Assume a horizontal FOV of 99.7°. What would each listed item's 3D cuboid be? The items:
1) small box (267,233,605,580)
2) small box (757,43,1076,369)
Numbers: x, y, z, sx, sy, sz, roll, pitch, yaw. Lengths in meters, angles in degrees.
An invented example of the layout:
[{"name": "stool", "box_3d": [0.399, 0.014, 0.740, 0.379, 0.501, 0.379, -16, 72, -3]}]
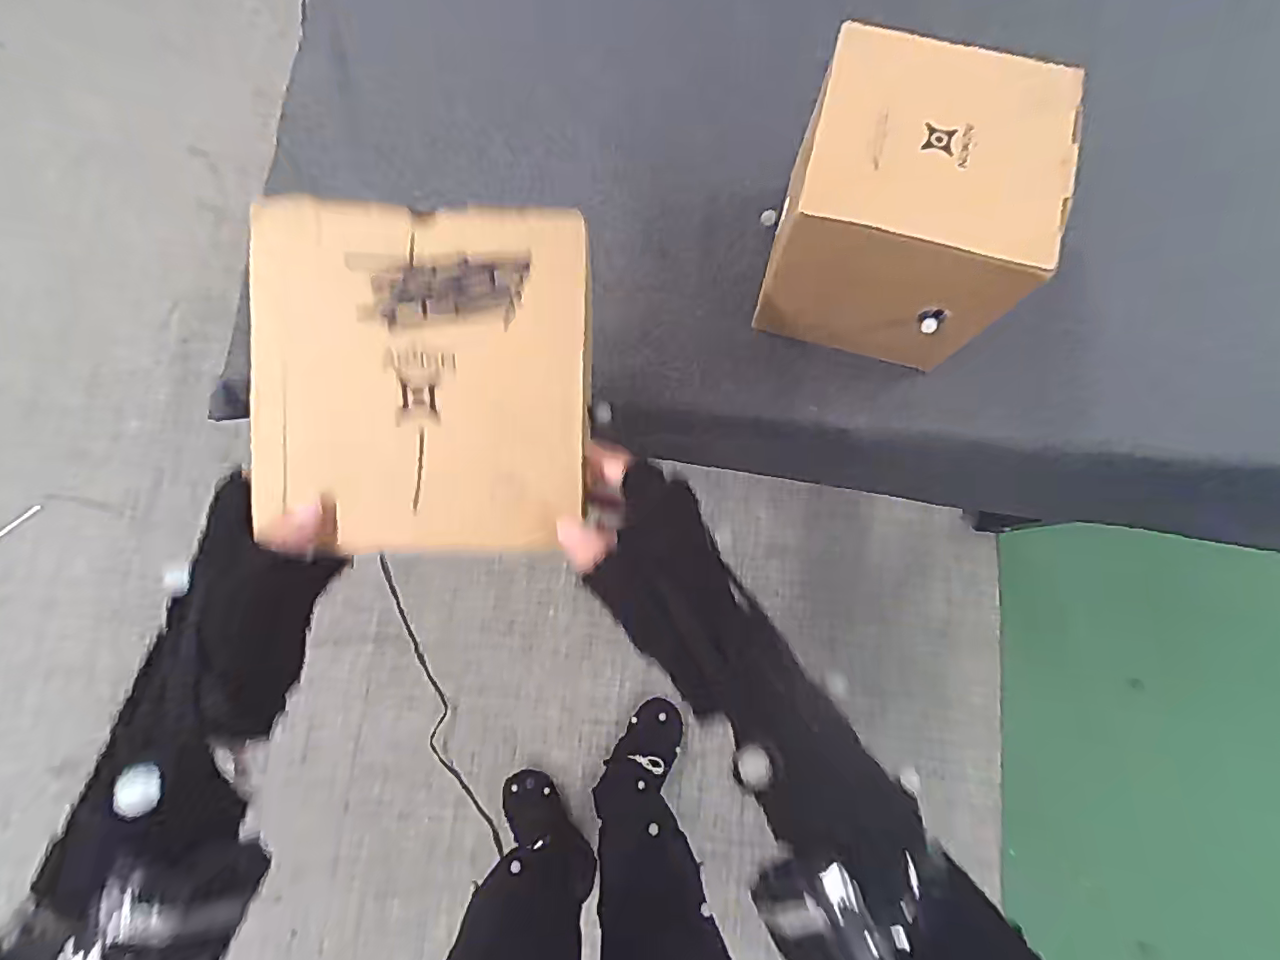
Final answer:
[{"name": "small box", "box_3d": [-0.110, -0.036, 0.358, 0.168, 0.176, 0.179, 1, 91, -5]}, {"name": "small box", "box_3d": [0.214, -0.212, 0.461, 0.179, 0.176, 0.168, 14, 78, 4]}]
